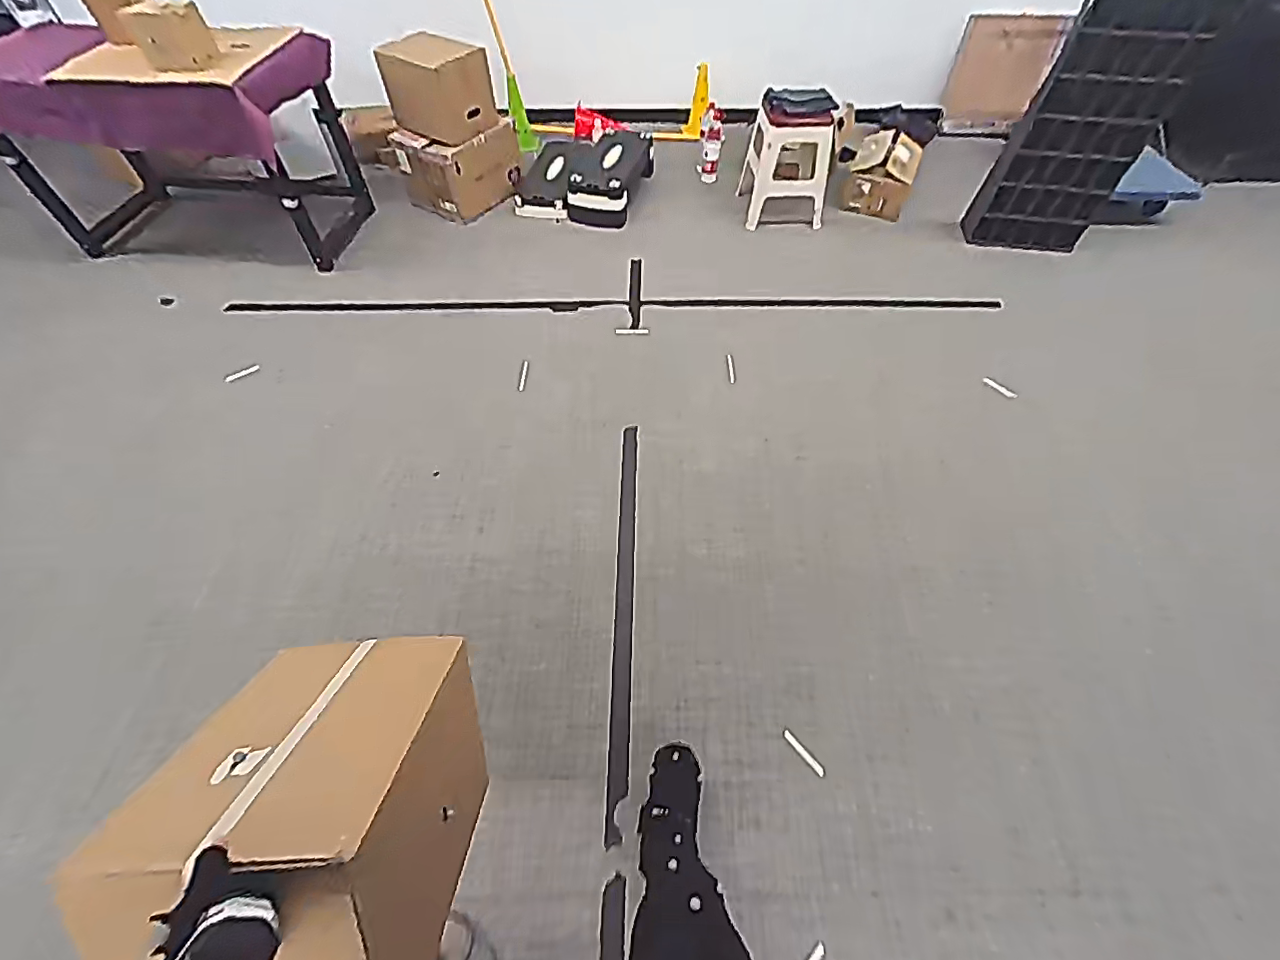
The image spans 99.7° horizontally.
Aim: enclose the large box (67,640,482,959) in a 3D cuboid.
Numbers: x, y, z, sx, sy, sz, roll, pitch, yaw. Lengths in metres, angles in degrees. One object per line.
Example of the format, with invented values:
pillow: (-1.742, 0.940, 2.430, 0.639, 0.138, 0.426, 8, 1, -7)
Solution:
large box: (-0.447, 0.486, 0.795, 0.320, 0.320, 0.408, -4, 18, 0)
